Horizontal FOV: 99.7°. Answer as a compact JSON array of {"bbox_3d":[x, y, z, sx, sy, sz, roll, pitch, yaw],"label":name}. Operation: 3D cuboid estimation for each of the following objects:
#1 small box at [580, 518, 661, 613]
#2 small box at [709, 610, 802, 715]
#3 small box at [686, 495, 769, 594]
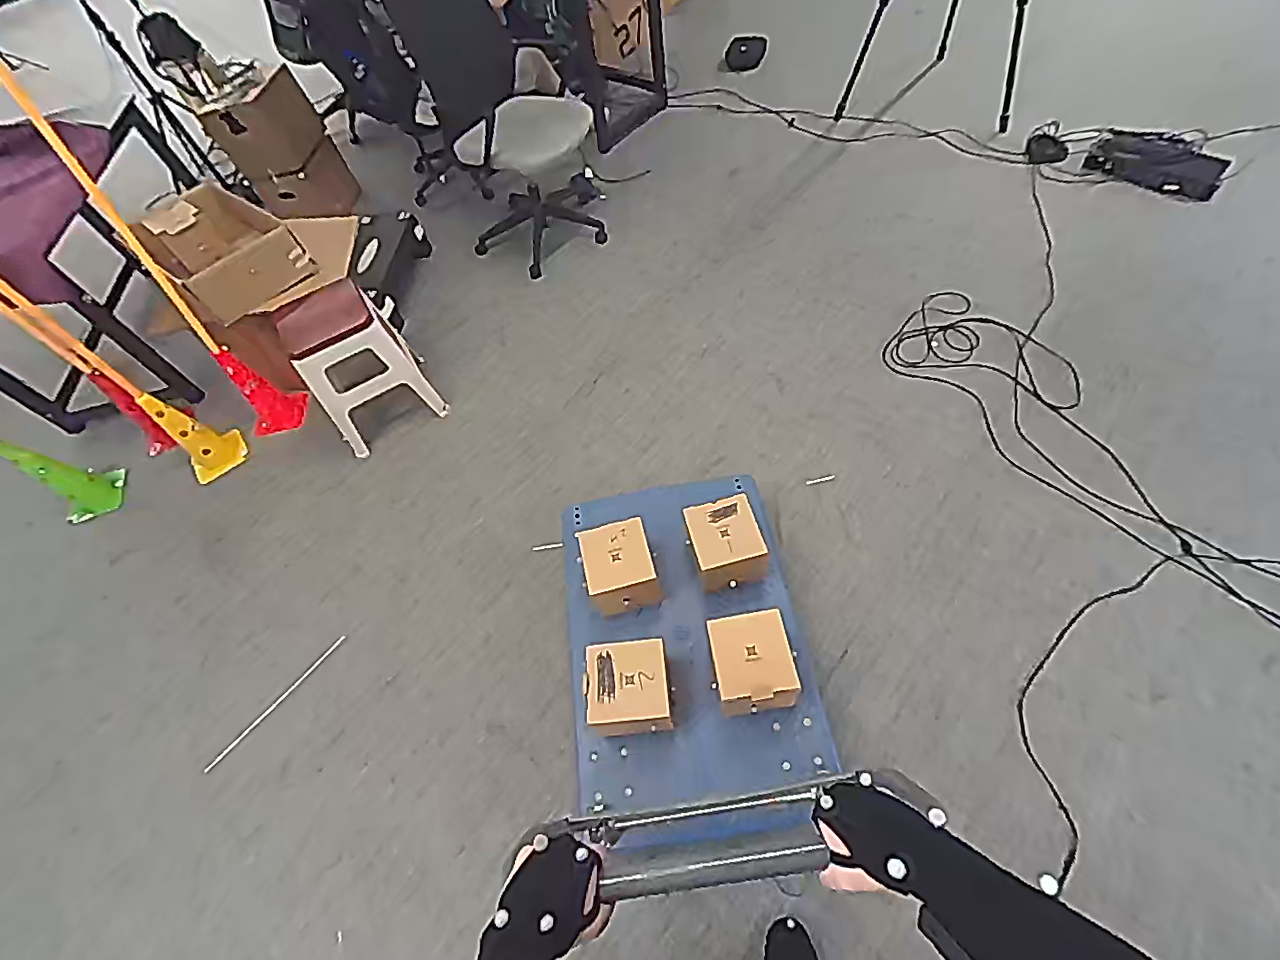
[{"bbox_3d":[-0.047,0.226,1.382,0.168,0.176,0.179,-14,57,-2],"label":"small box"},{"bbox_3d":[0.251,0.416,1.221,0.168,0.176,0.179,-10,57,2],"label":"small box"},{"bbox_3d":[0.218,0.168,1.383,0.168,0.176,0.179,-14,58,-1],"label":"small box"}]
